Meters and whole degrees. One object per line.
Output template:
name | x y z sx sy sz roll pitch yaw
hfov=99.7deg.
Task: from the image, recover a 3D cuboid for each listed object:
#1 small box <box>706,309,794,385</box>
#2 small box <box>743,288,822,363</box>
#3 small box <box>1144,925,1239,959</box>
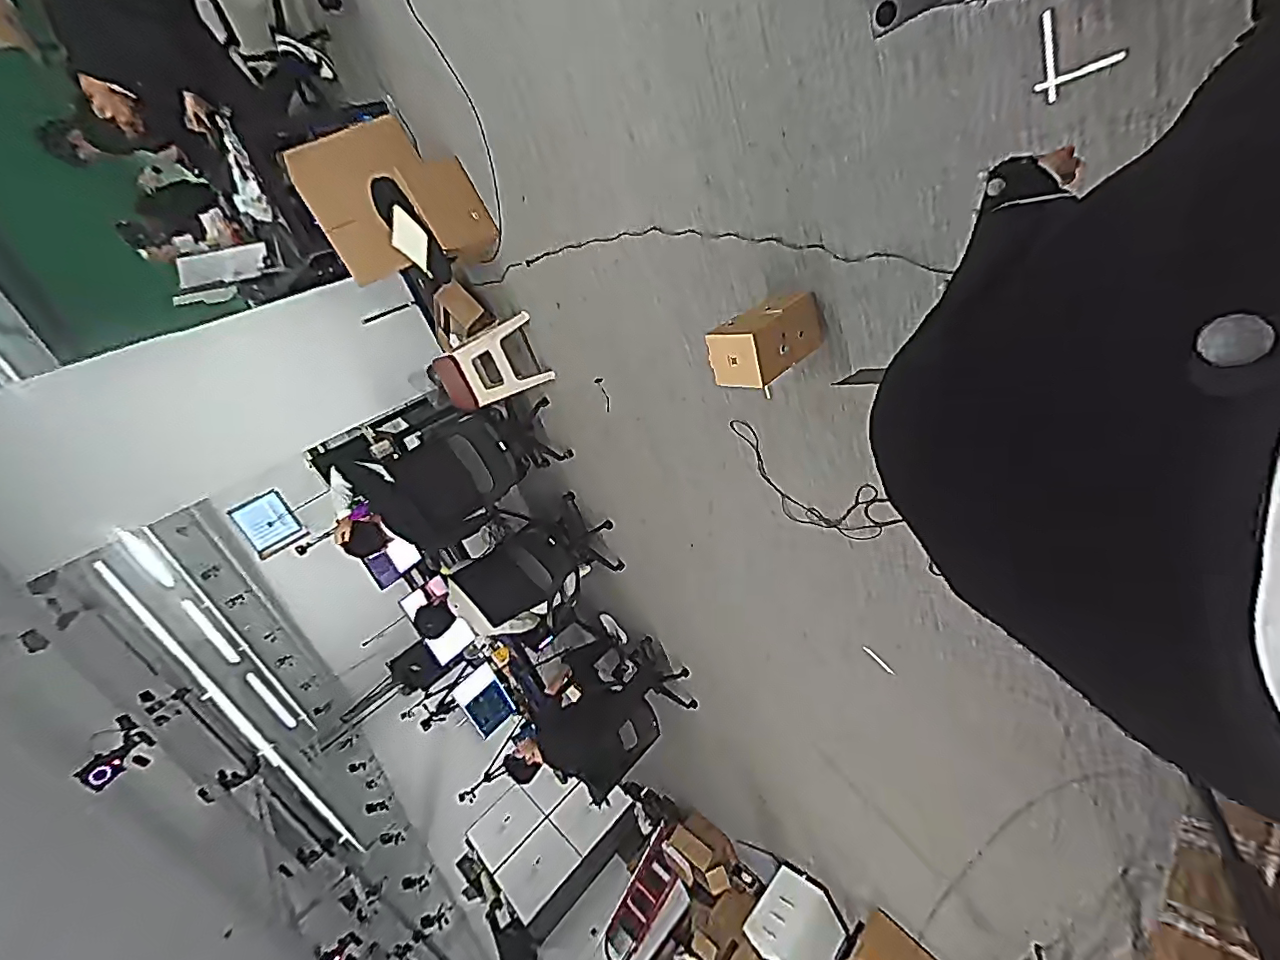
small box | 0.330 -0.397 1.607 0.179 0.176 0.168 13 132 46
small box | 0.445 -0.478 1.690 0.168 0.176 0.179 9 129 49
small box | 1.304 1.198 1.259 0.179 0.176 0.168 0 118 54
